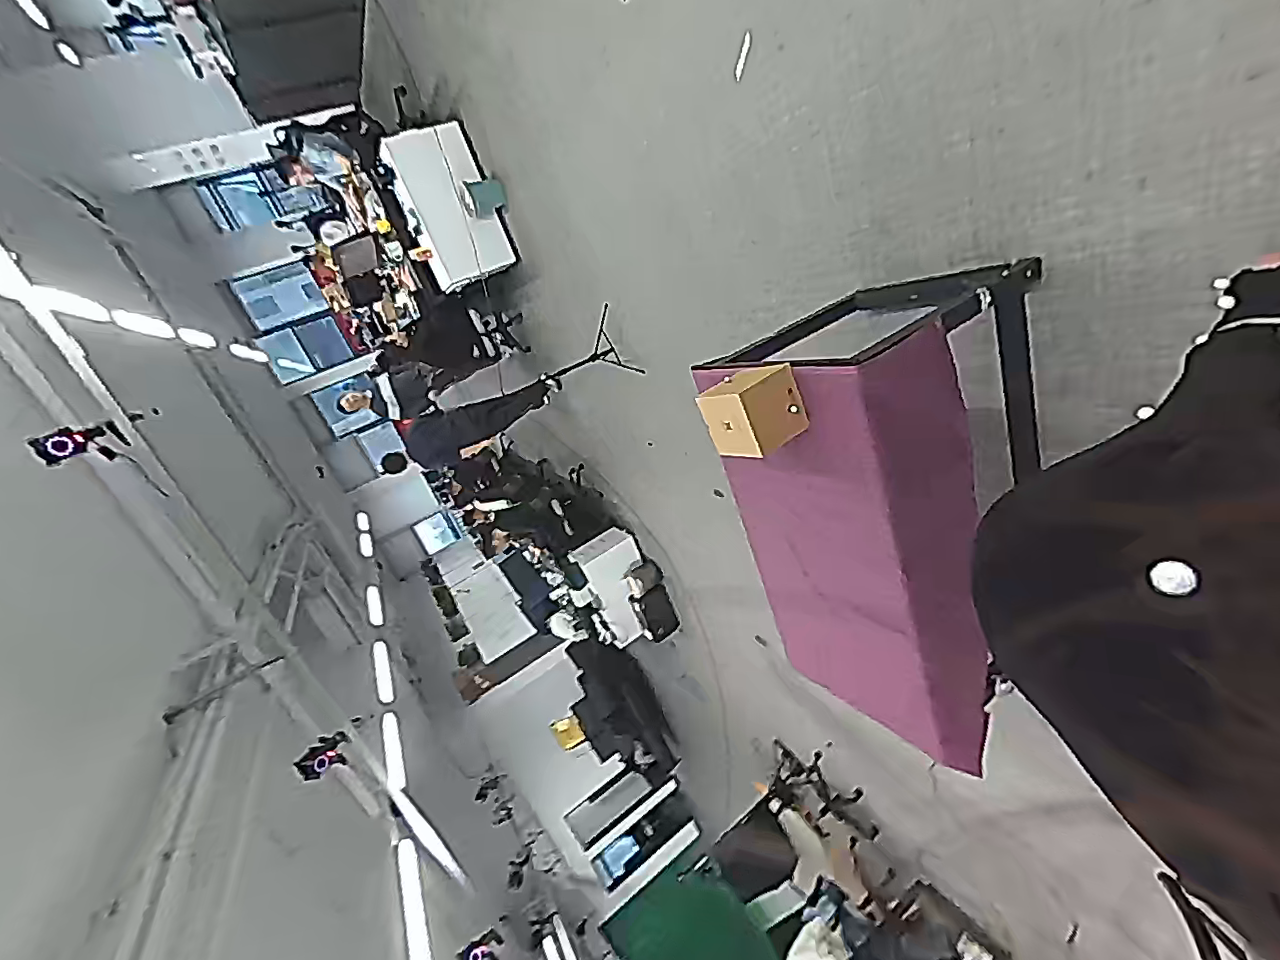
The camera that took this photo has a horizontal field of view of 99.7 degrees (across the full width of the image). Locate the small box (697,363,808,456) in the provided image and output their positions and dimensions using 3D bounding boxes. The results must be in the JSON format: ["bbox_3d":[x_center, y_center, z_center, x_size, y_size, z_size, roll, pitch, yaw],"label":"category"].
[{"bbox_3d":[0.274,-0.175,1.322,0.179,0.176,0.168,13,132,63],"label":"small box"}]
